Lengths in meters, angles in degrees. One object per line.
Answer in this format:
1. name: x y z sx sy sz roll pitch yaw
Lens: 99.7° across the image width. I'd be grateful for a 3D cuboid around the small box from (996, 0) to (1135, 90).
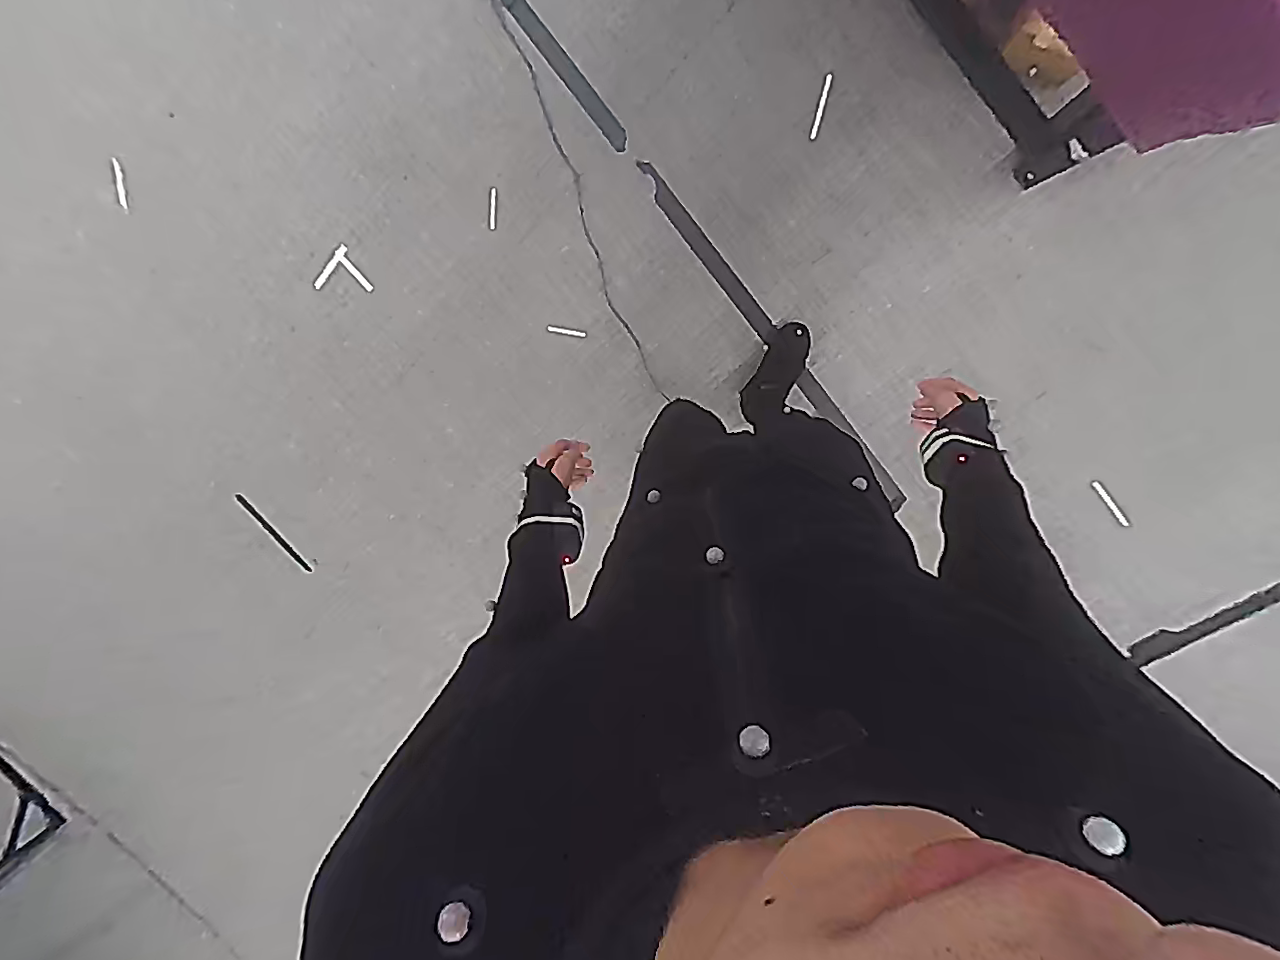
1. small box: 0.885 -0.961 1.121 0.168 0.176 0.179 23 109 6
